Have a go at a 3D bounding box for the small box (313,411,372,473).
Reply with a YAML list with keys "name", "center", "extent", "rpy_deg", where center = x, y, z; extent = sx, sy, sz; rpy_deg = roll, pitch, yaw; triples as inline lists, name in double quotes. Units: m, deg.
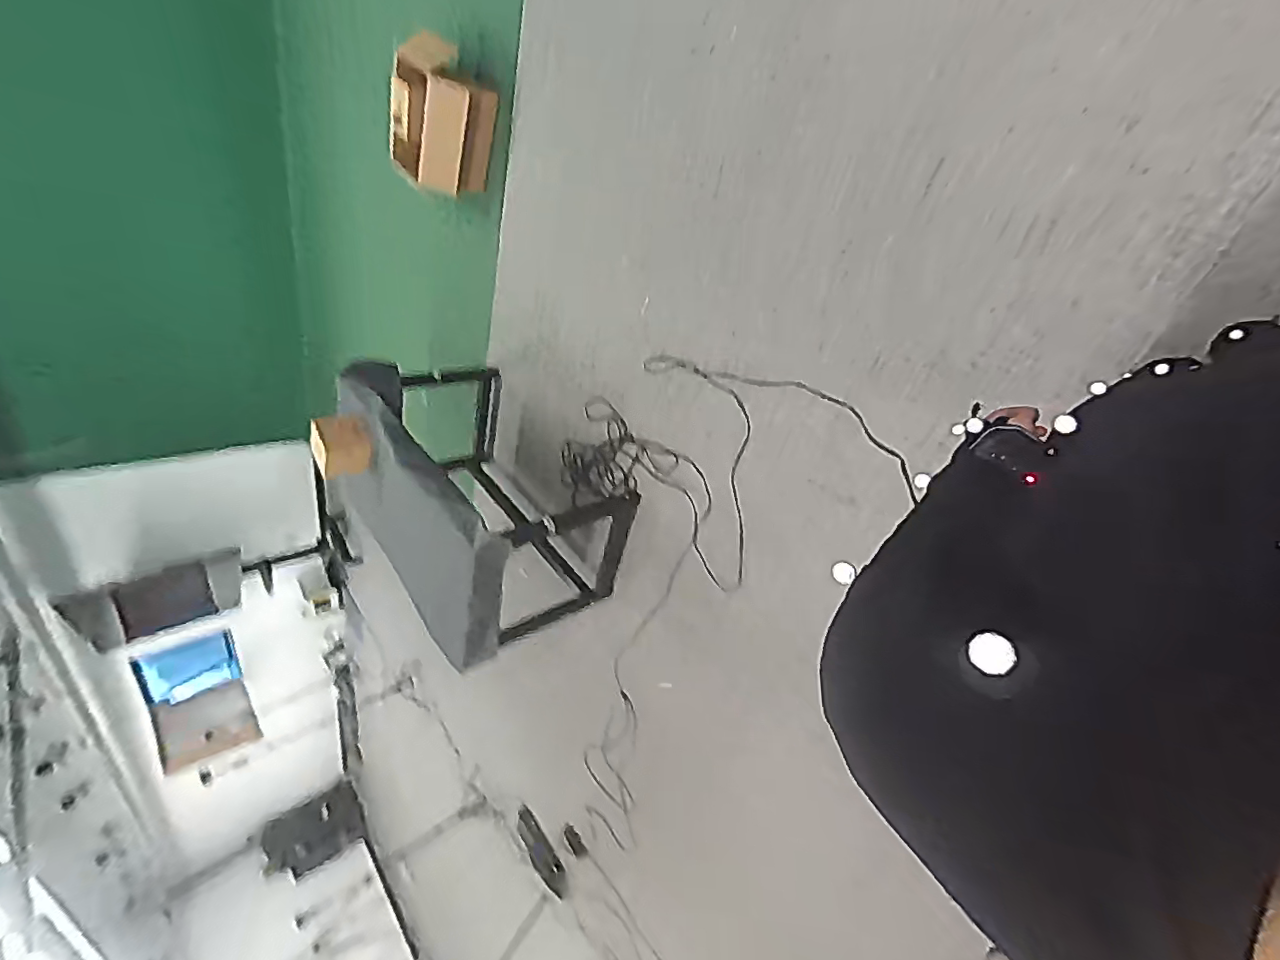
- name: "small box"
  center: [-1.190, -0.158, 2.164]
  extent: [0.168, 0.176, 0.179]
  rpy_deg: [57, 137, 20]
